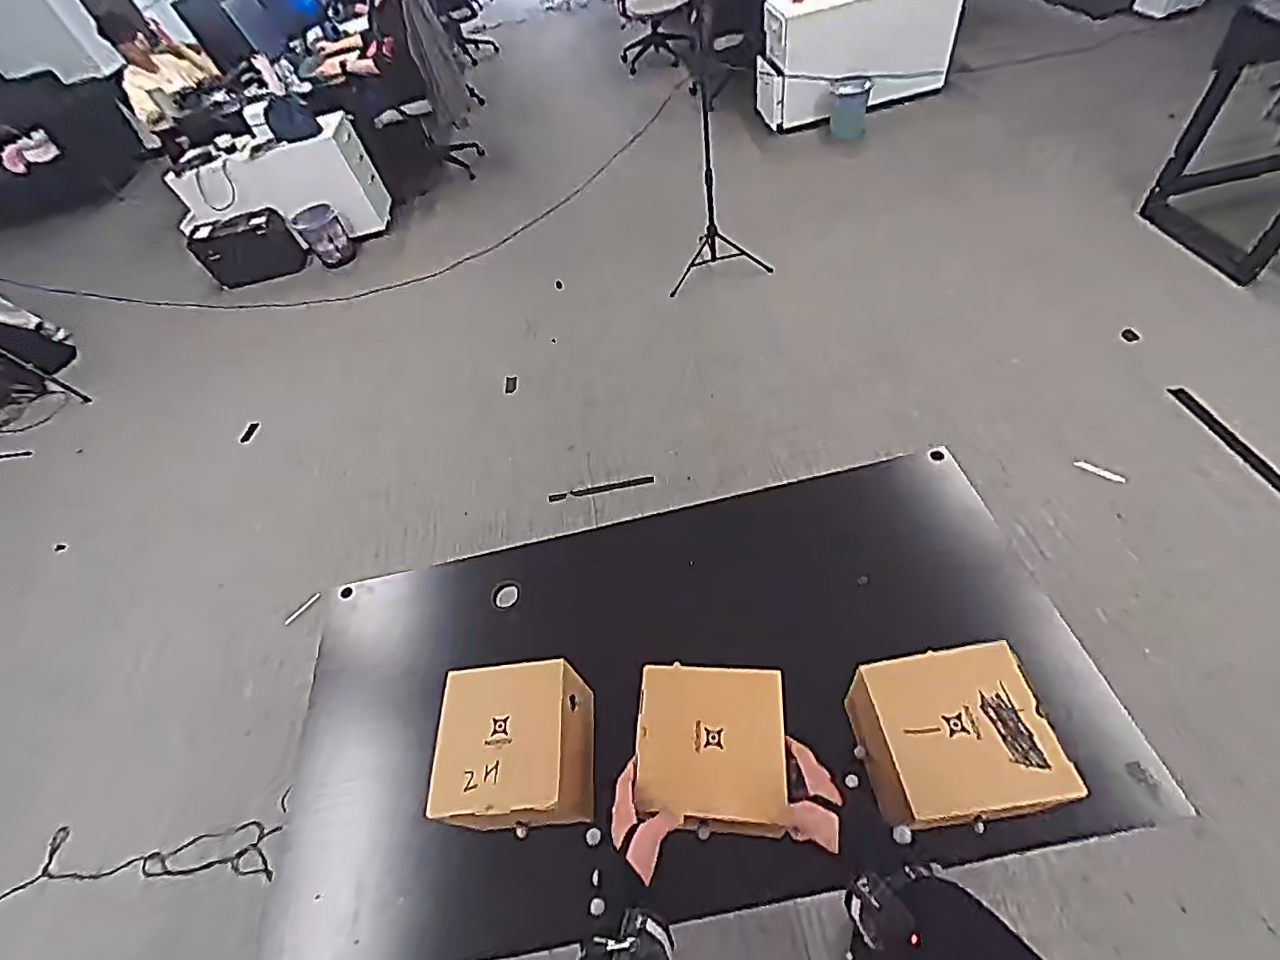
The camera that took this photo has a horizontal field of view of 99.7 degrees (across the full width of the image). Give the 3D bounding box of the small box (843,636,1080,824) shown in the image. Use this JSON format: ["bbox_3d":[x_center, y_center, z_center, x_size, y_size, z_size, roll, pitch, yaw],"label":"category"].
[{"bbox_3d":[0.368,0.311,0.663,0.179,0.176,0.168,-12,52,4],"label":"small box"}]

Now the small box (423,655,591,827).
[{"bbox_3d":[-0.167,0.362,0.742,0.168,0.176,0.179,-9,53,6],"label":"small box"}]
